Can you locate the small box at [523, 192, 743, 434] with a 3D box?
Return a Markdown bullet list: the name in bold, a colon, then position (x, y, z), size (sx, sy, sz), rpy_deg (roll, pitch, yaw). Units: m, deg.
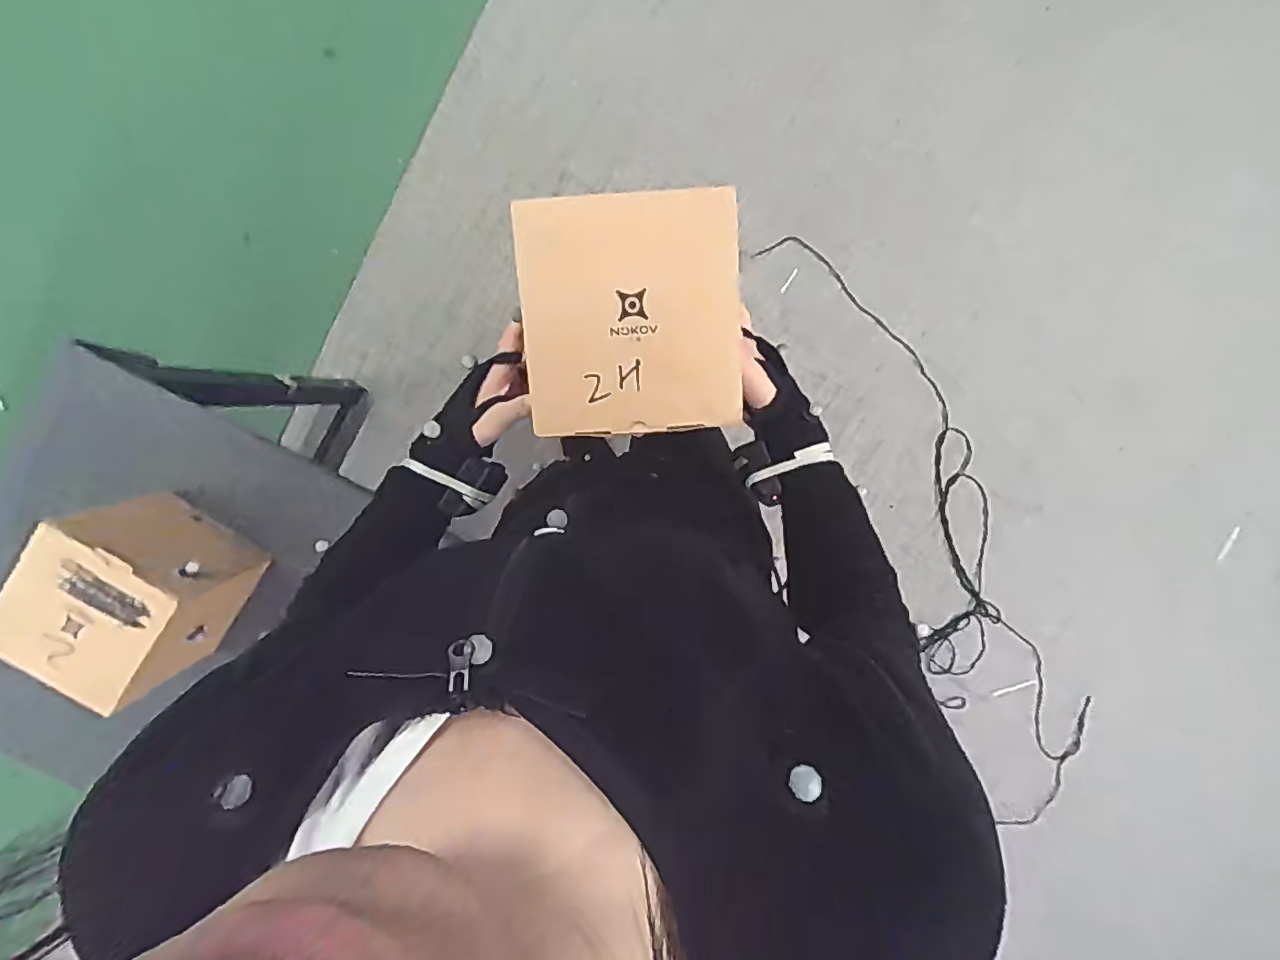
- **small box**: position (-0.006, -0.139, 0.490), size (0.168, 0.176, 0.179), rpy_deg (-3, 101, -1)
